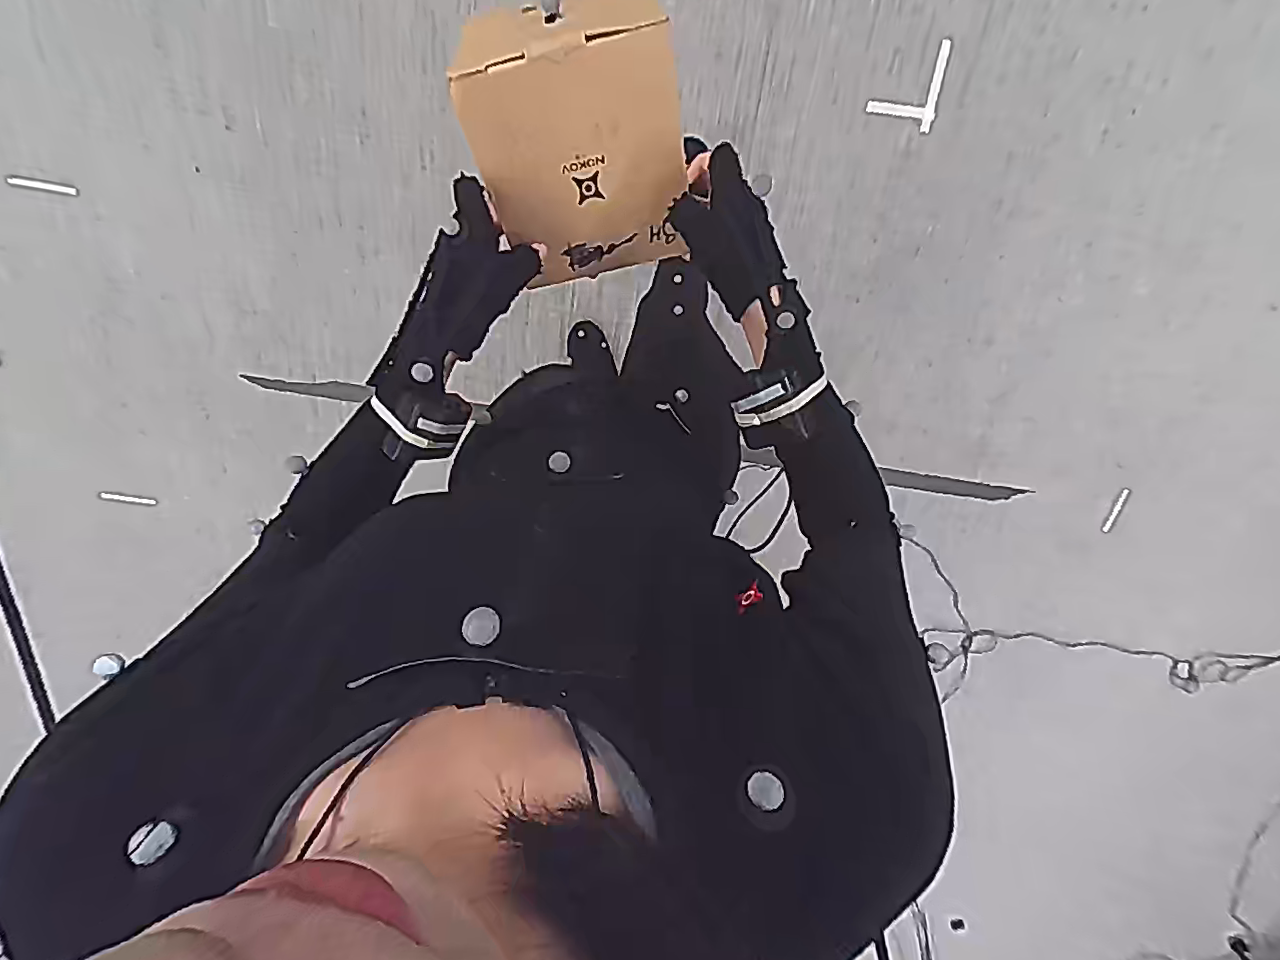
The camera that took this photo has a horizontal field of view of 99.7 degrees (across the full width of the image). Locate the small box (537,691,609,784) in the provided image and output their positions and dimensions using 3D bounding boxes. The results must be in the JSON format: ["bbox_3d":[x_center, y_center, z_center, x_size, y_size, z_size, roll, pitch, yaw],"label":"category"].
[{"bbox_3d":[-0.187,0.730,1.545,0.179,0.176,0.168,10,111,-4],"label":"small box"}]

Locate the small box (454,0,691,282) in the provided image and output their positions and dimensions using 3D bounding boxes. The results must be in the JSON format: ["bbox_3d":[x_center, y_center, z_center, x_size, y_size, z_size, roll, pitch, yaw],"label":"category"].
[{"bbox_3d":[-0.054,-0.318,0.499,0.168,0.176,0.179,-11,140,3],"label":"small box"}]
